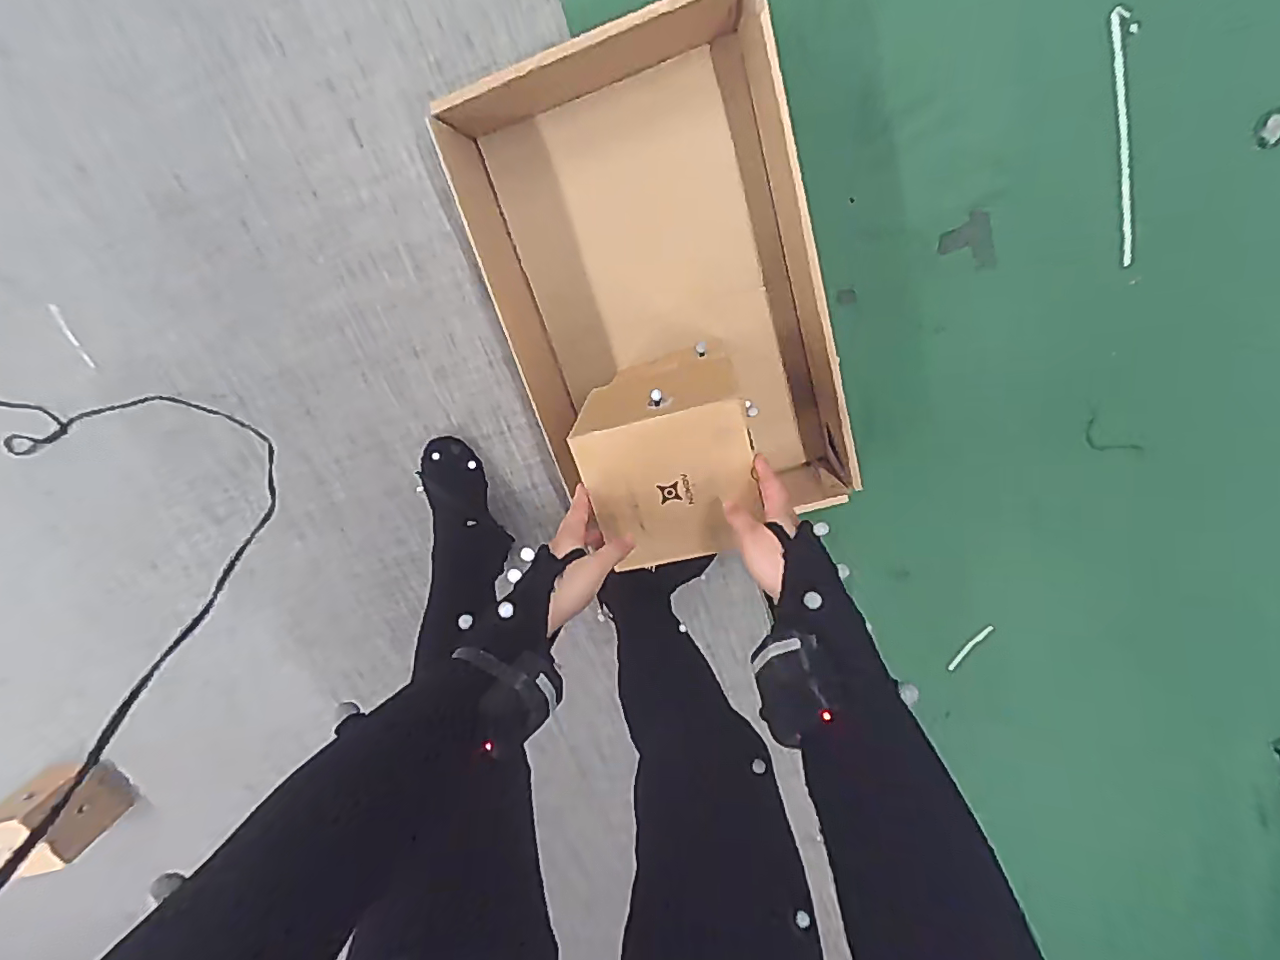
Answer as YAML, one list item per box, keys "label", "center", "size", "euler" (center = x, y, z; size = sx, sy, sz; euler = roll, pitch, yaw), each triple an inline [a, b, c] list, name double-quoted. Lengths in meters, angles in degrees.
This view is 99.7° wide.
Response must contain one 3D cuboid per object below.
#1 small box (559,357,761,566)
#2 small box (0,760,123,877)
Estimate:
- label: "small box"
  center: [0.028, -0.029, 0.620]
  size: [0.179, 0.176, 0.168]
  euler: [-13, 113, 11]
- label: "small box"
  center: [-1.421, 0.812, 1.309]
  size: [0.179, 0.176, 0.168]
  euler: [-17, 108, 11]
